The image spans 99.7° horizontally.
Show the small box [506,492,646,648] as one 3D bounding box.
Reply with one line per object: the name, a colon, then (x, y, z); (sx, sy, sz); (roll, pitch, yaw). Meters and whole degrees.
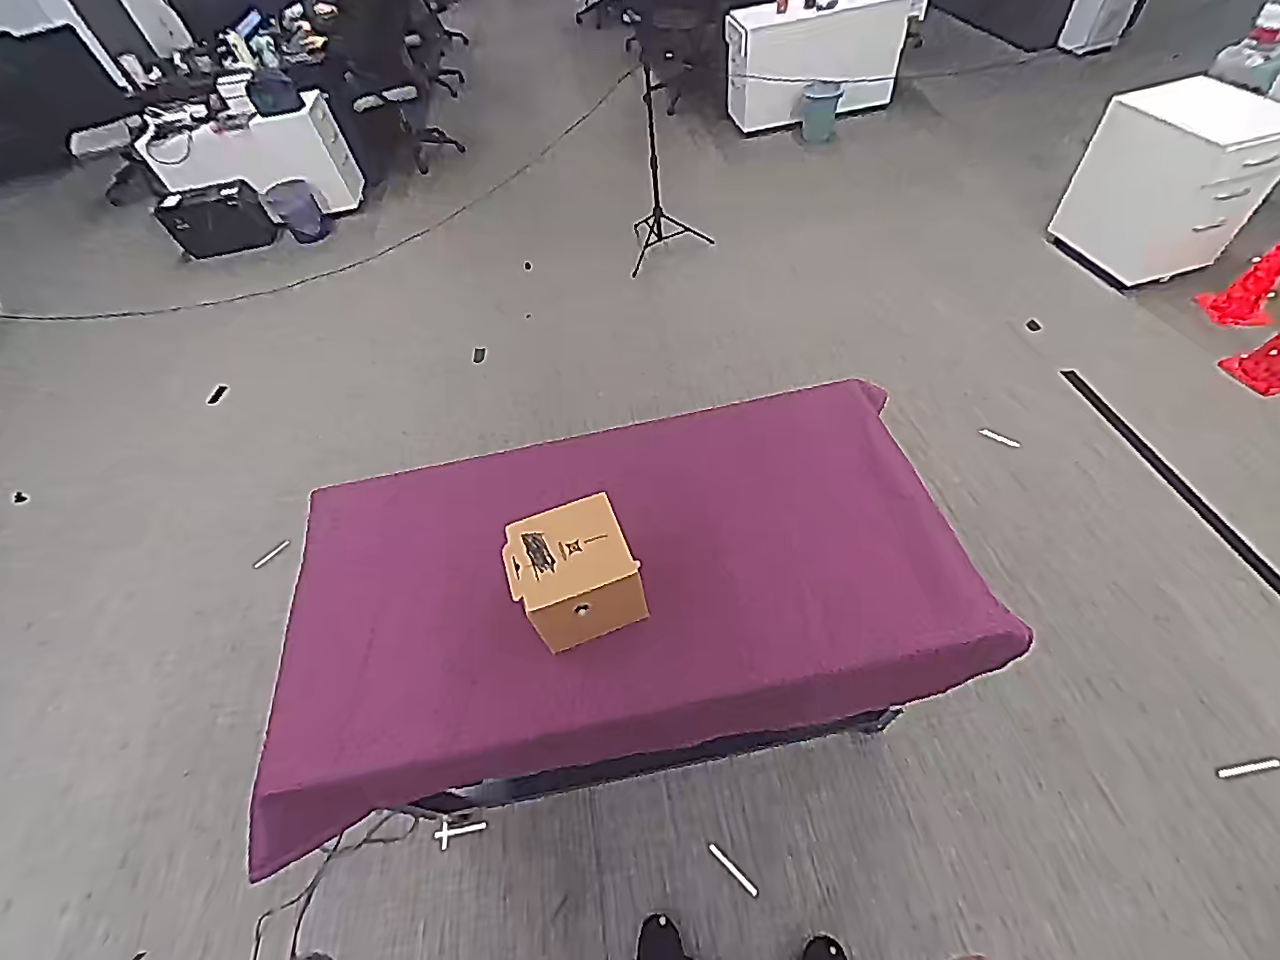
small box: (-0.102, 0.155, 0.901); (0.179, 0.176, 0.168); (-20, 53, -8)
